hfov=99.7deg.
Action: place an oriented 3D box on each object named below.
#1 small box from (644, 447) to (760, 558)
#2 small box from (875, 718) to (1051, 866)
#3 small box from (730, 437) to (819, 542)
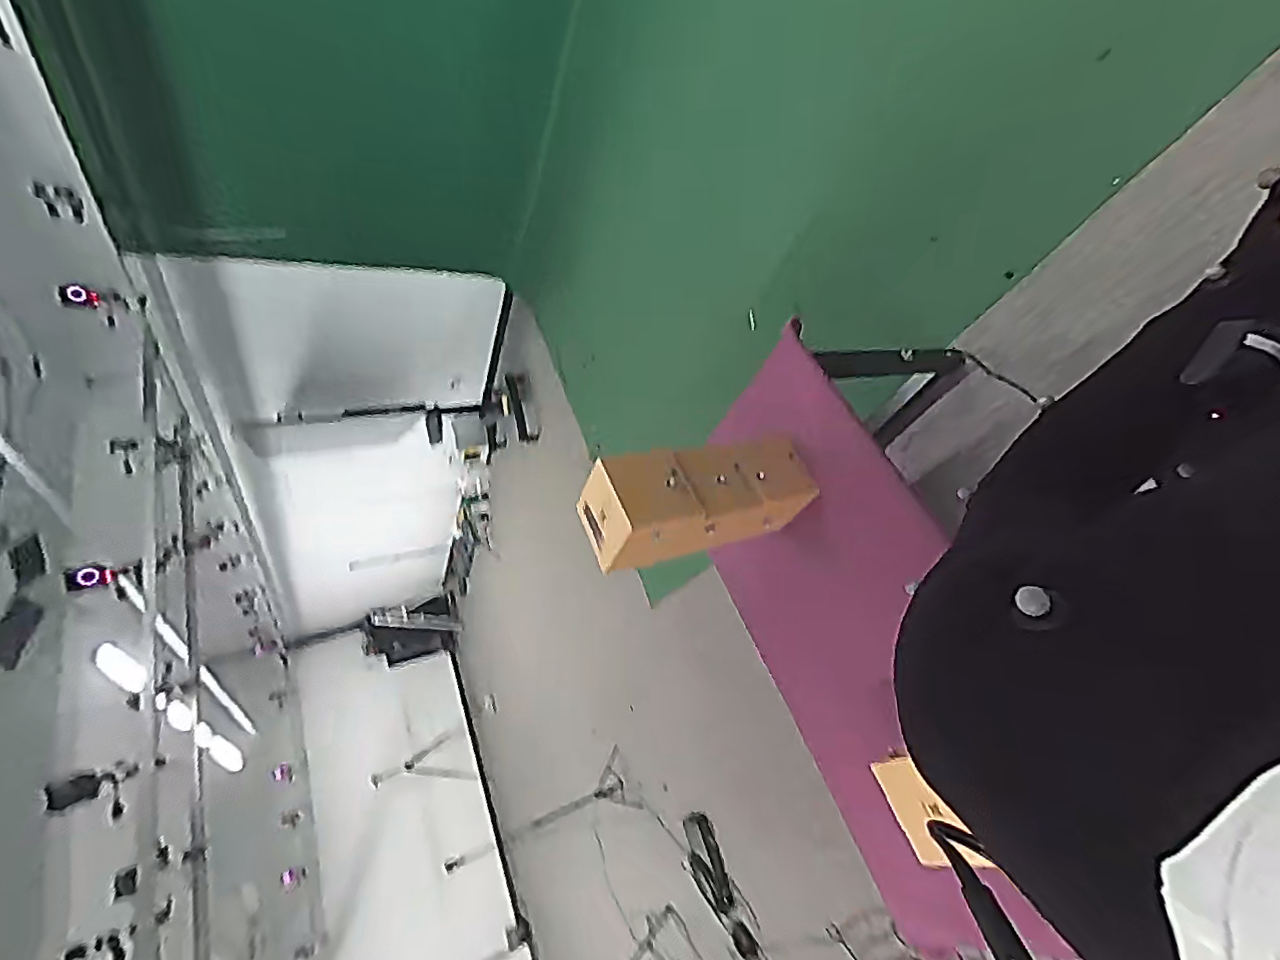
[{"bbox_3d":[0.138,0.045,1.181,0.168,0.176,0.179,65,147,25],"label":"small box"},{"bbox_3d":[0.559,0.532,0.932,0.168,0.176,0.179,65,147,24],"label":"small box"},{"bbox_3d":[0.279,0.020,1.262,0.168,0.176,0.179,63,147,26],"label":"small box"}]
